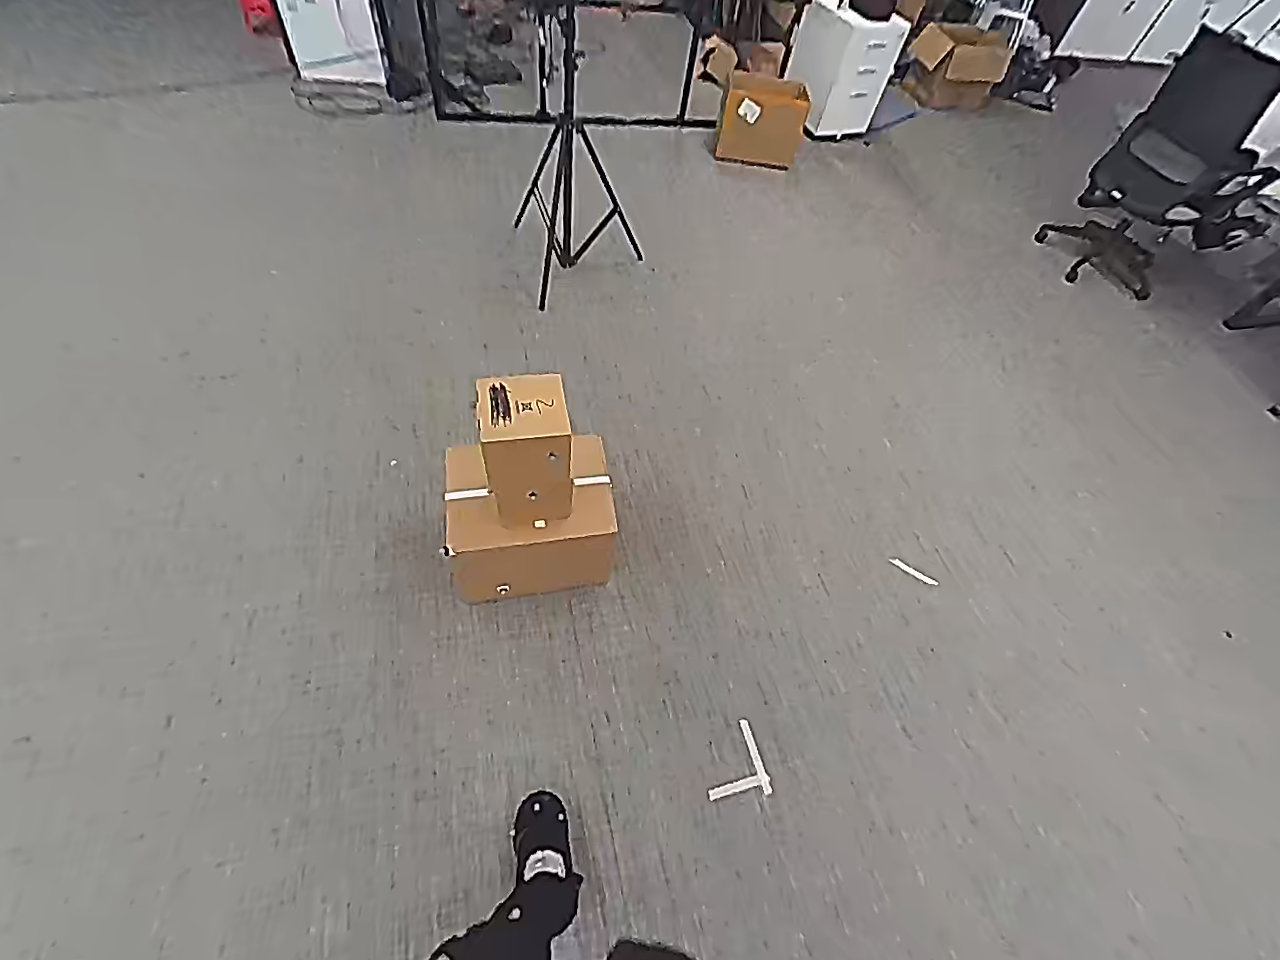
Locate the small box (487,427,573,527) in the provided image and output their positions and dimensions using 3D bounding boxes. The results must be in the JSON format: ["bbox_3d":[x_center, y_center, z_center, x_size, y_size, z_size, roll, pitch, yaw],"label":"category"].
[{"bbox_3d":[-0.258,-0.002,1.280,0.179,0.176,0.168,-8,59,-15],"label":"small box"}]
